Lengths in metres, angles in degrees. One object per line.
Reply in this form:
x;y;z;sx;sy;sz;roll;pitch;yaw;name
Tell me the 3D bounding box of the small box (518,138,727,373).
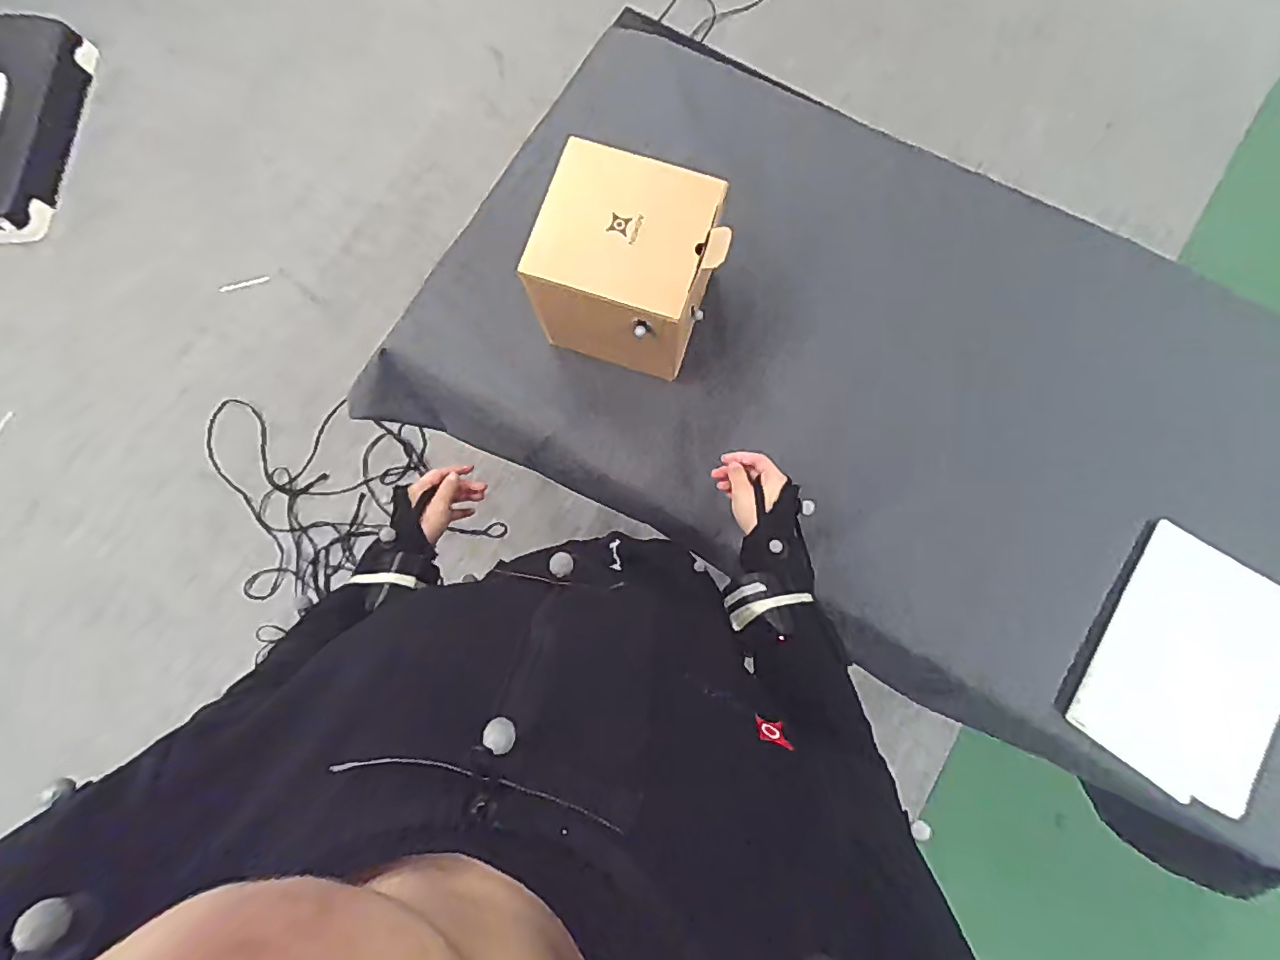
-0.016;-0.243;0.626;0.179;0.176;0.168;18;80;3;small box
